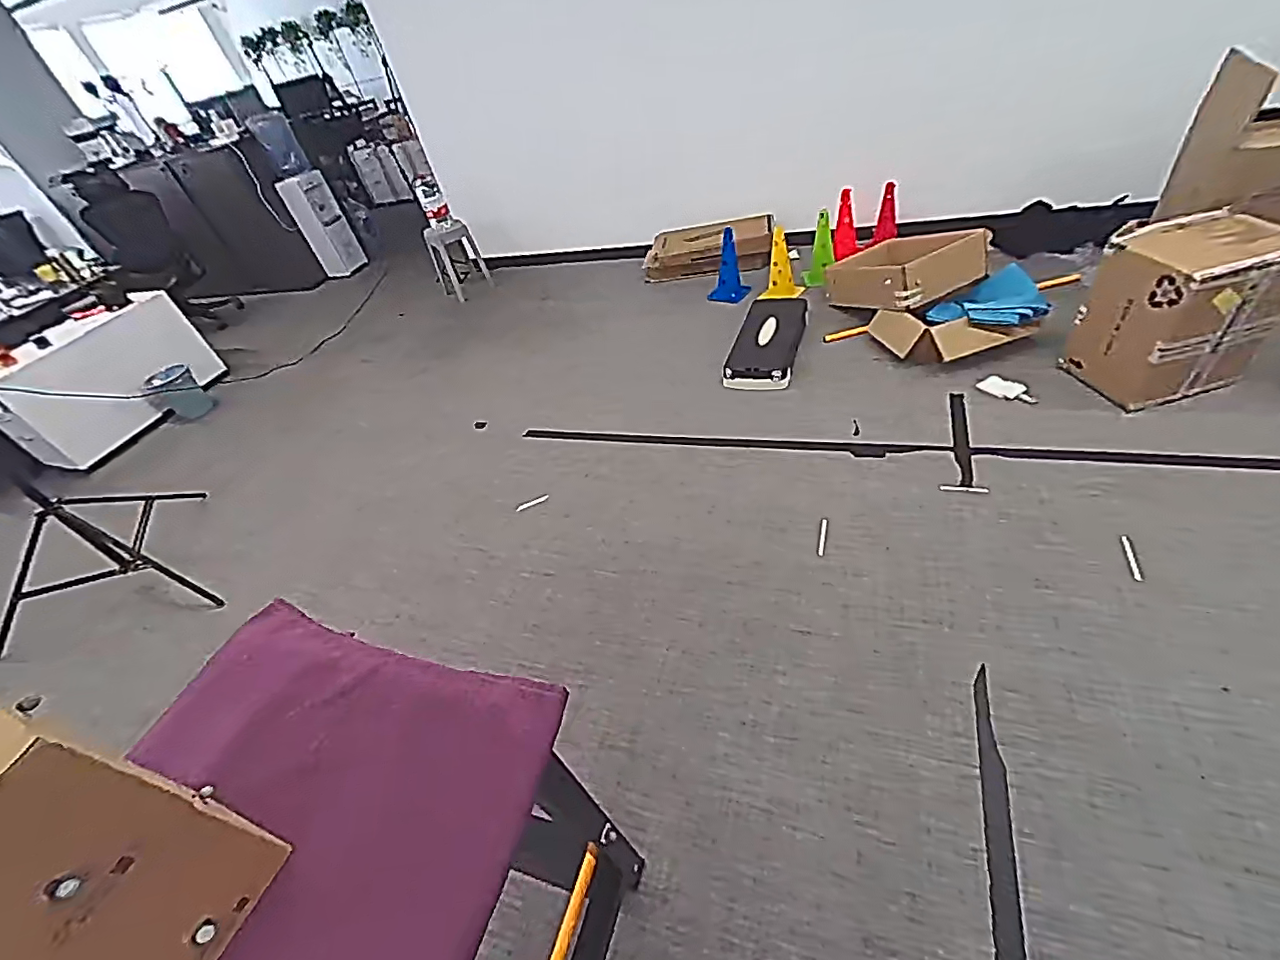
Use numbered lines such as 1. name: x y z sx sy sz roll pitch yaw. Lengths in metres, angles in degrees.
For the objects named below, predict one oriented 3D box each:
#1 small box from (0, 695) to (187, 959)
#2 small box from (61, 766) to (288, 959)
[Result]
1. small box: -0.568 0.308 0.470 0.179 0.176 0.168 8 47 23
2. small box: -0.538 0.429 0.579 0.179 0.176 0.168 8 47 23
